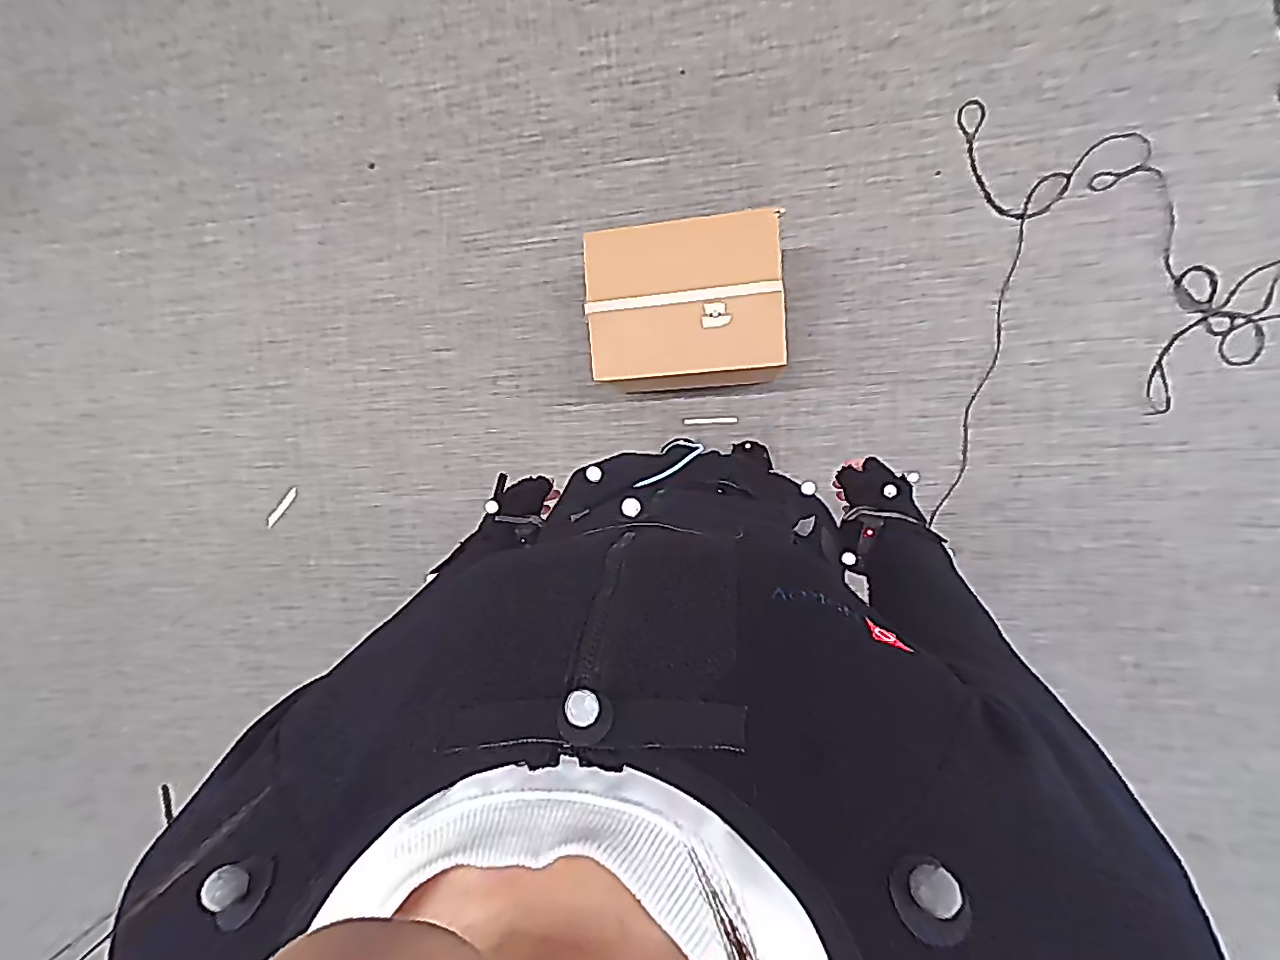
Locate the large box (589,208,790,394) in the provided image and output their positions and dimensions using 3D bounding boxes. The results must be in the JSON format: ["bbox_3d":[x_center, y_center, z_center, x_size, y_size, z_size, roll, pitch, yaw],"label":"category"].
[{"bbox_3d":[0.120,-0.387,1.264,0.408,0.320,0.320,-3,94,9],"label":"large box"}]
